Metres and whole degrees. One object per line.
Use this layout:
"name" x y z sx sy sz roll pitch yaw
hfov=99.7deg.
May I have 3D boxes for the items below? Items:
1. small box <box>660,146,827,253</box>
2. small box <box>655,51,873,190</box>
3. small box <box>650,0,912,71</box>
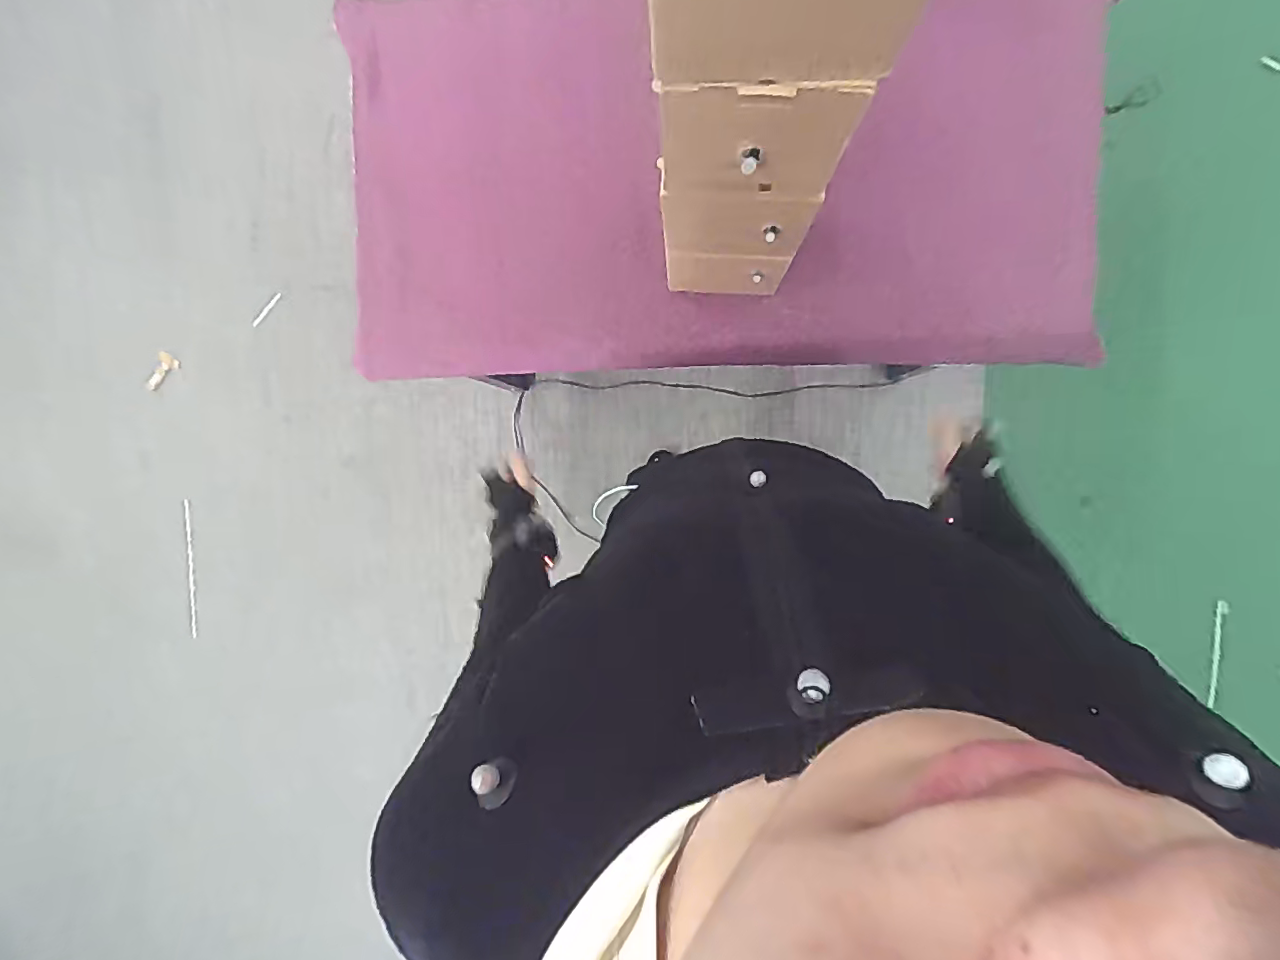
"small box" 0.120 -0.385 0.647 0.179 0.176 0.168 5 93 5
"small box" 0.106 -0.386 0.485 0.168 0.176 0.179 4 93 5
"small box" 0.093 -0.382 0.321 0.179 0.176 0.168 2 92 4
